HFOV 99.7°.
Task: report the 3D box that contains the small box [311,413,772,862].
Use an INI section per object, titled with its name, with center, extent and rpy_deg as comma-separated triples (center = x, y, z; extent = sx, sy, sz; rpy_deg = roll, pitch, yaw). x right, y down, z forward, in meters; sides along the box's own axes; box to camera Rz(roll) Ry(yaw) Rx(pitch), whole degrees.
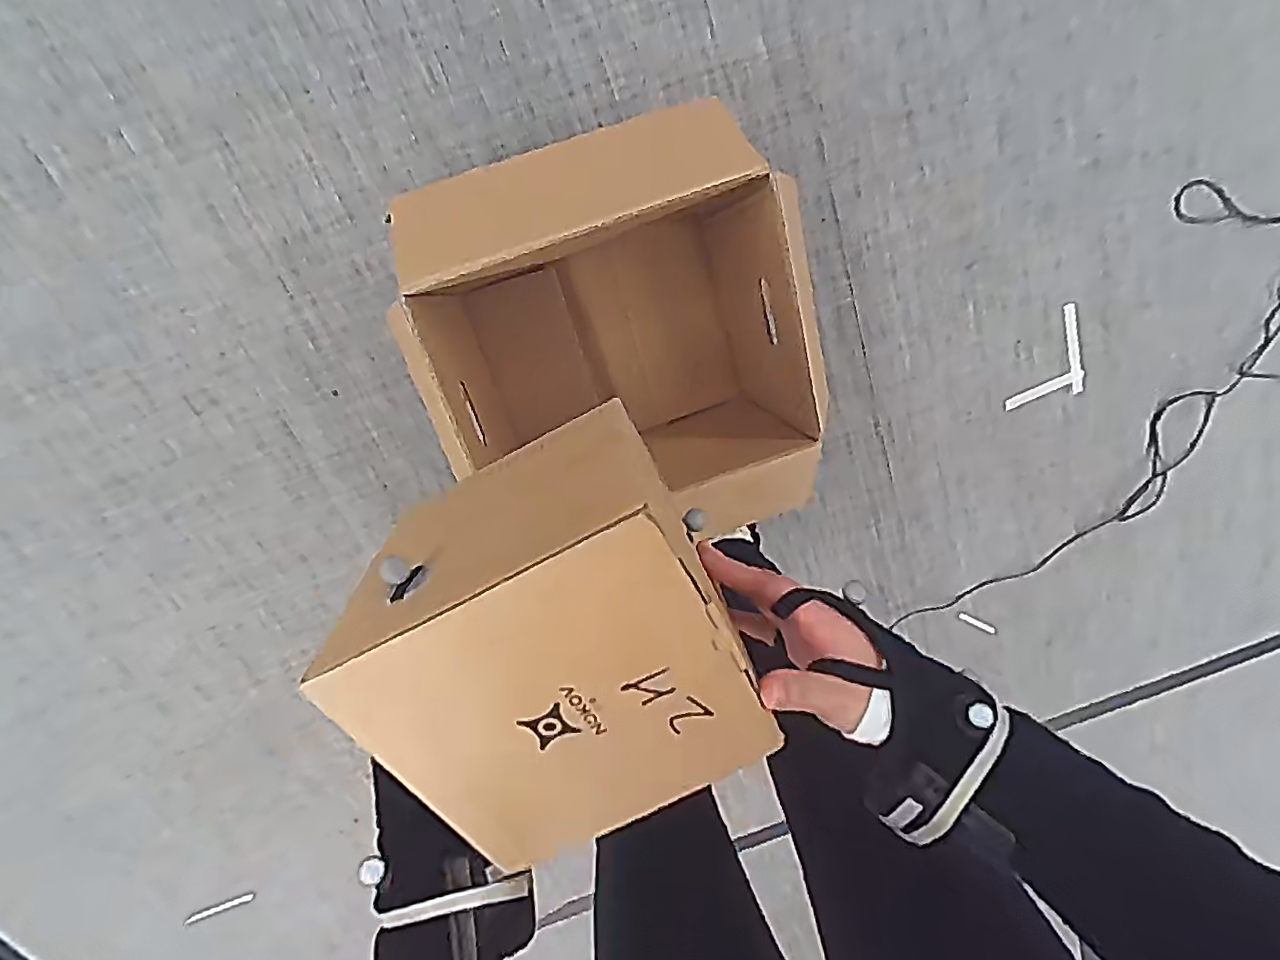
[small box]
center = -0.047, 0.082, 0.340
extent = 0.179, 0.176, 0.168
rpy_deg = -27, 115, 4
